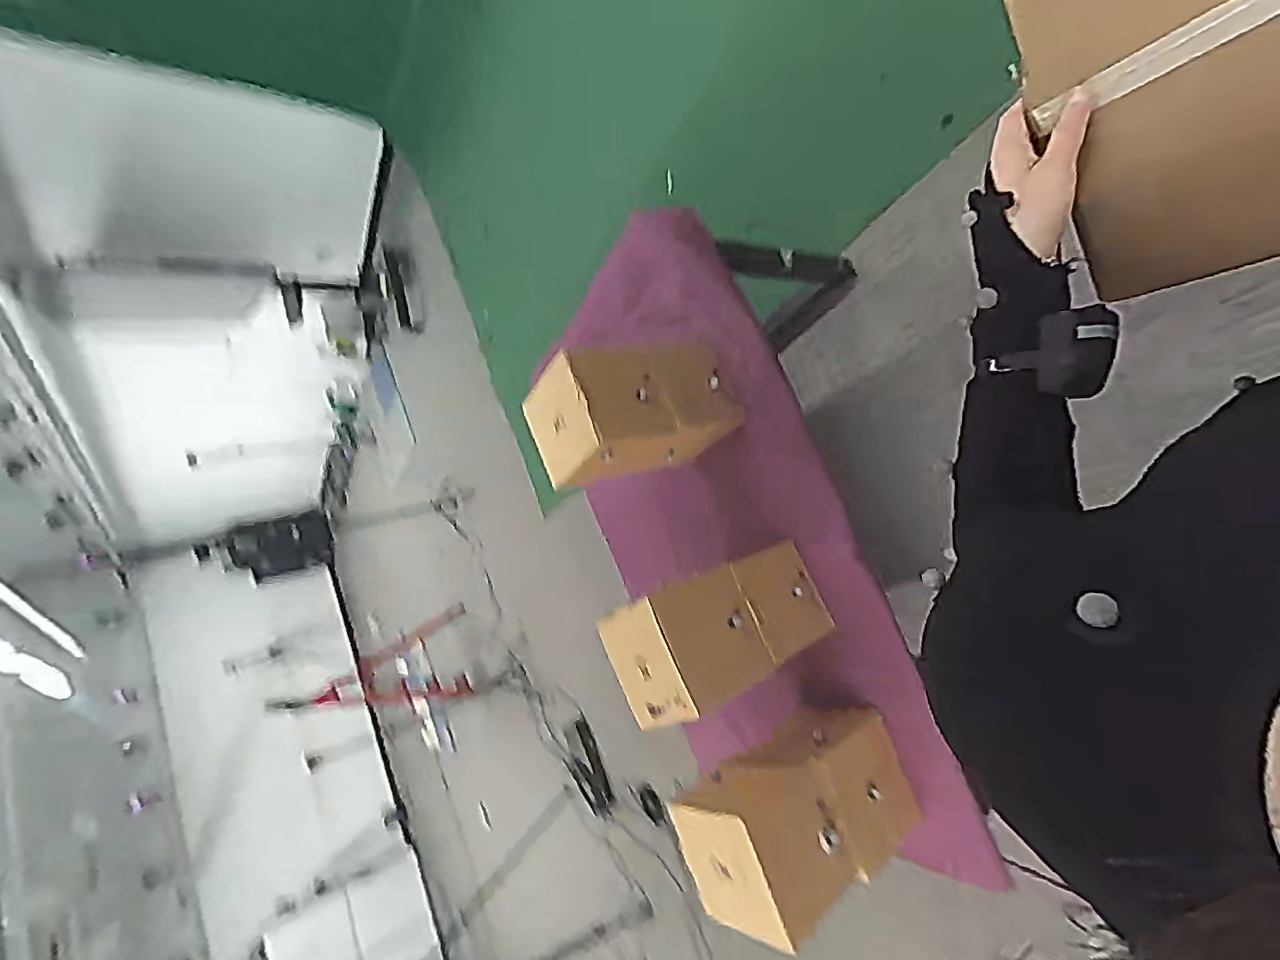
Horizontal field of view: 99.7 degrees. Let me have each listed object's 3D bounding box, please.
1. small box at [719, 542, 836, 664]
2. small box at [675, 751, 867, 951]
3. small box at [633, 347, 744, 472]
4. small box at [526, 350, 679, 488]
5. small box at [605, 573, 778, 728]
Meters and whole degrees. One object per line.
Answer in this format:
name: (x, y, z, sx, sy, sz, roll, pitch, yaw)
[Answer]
small box: (0.202, 0.228, 0.948, 0.179, 0.176, 0.168, -42, 68, 48)
small box: (0.187, 0.514, 0.783, 0.179, 0.176, 0.168, -36, 73, 50)
small box: (0.062, -0.133, 1.020, 0.179, 0.176, 0.168, -39, 70, 48)
small box: (-0.065, -0.104, 0.922, 0.179, 0.176, 0.168, -40, 69, 48)
small box: (0.078, 0.258, 0.845, 0.168, 0.176, 0.179, -43, 66, 49)
